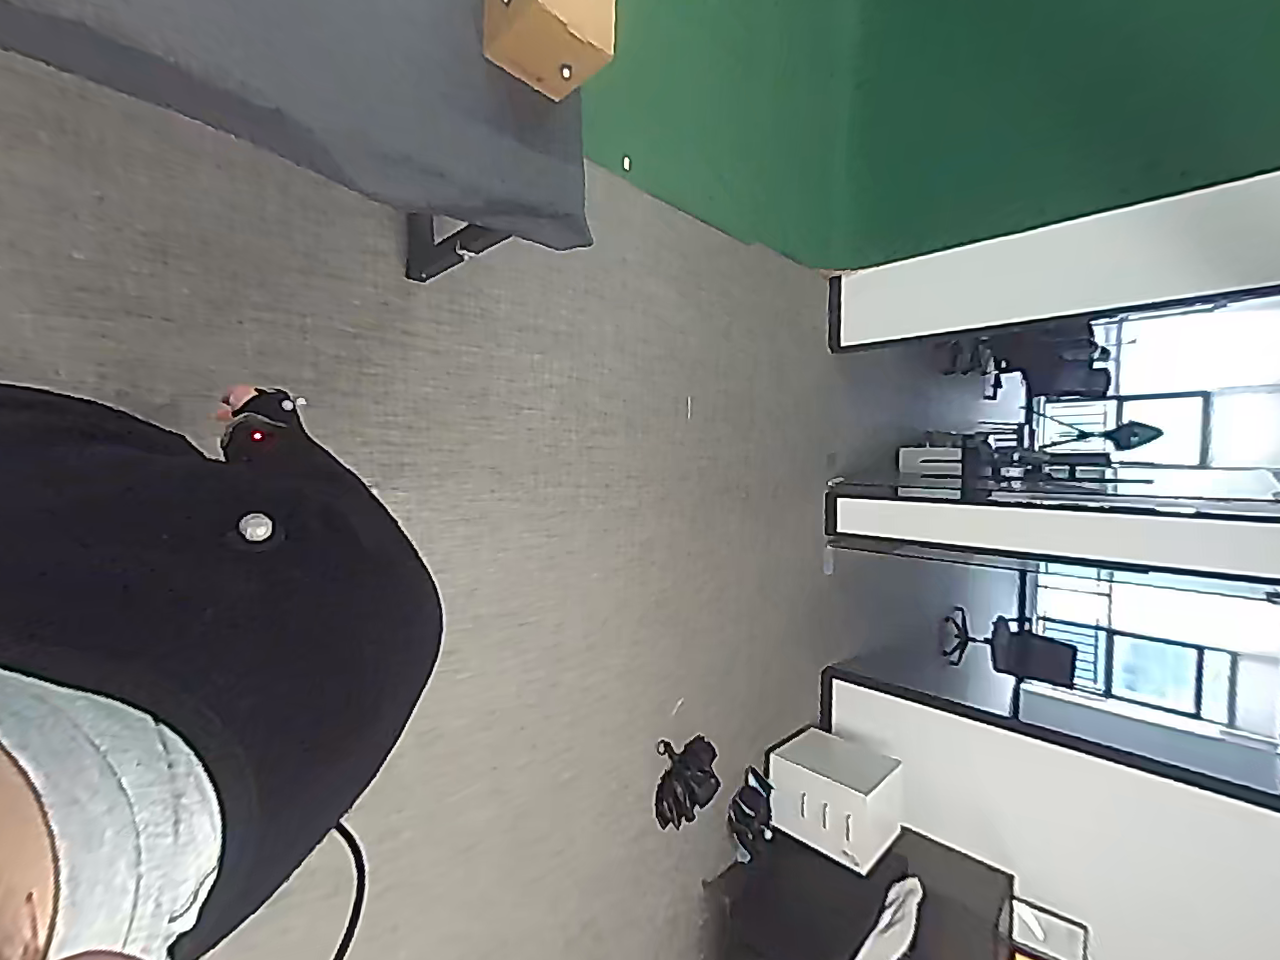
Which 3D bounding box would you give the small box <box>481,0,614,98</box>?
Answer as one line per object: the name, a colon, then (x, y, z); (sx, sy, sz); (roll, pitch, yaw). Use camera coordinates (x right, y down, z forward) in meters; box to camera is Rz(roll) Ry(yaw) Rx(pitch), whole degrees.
small box: (-0.162, -0.820, 0.941); (0.168, 0.176, 0.179); (0, 90, -46)
